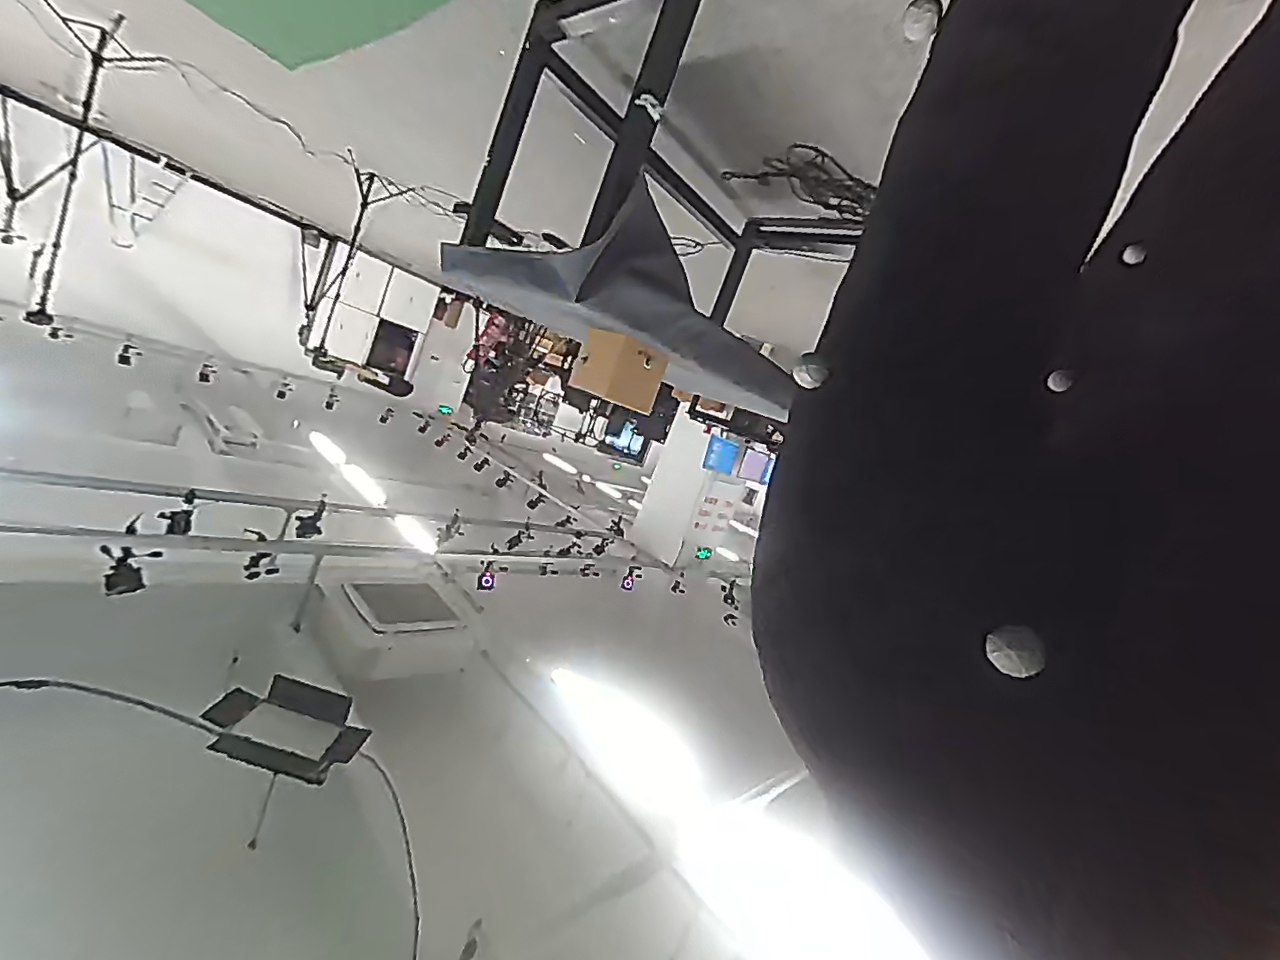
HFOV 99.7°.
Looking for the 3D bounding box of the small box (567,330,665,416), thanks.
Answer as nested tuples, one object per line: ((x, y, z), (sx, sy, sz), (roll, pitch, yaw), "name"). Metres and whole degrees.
((-0.061, -0.287, 1.434), (0.168, 0.176, 0.179), (12, -170, -43), "small box")
